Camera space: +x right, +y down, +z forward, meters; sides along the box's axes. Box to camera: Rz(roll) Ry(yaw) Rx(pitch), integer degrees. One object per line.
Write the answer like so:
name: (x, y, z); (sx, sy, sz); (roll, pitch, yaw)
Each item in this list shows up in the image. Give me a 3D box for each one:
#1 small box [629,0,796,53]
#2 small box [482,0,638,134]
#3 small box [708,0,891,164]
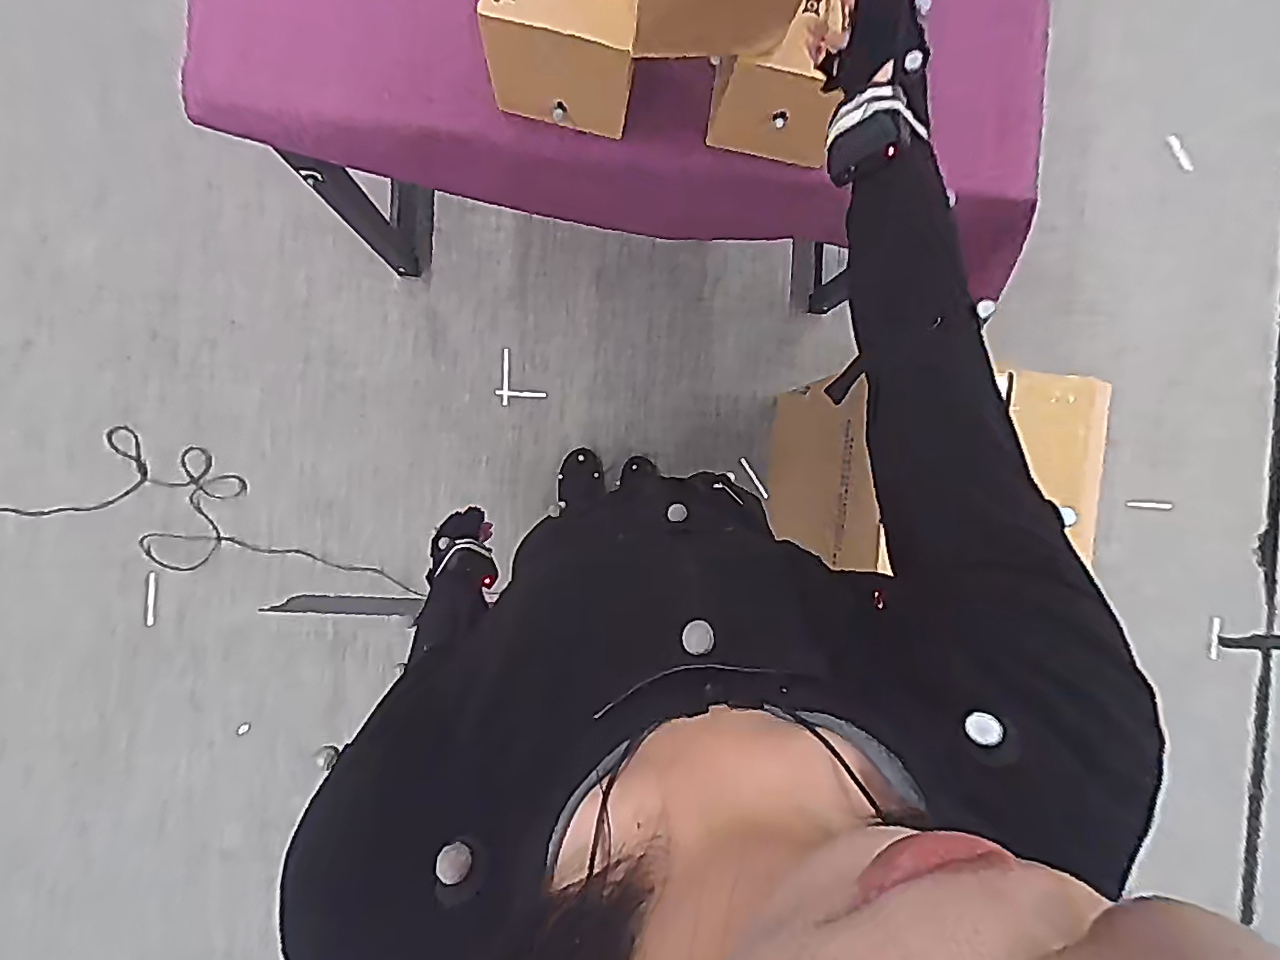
small box: (0.076, -0.566, 0.537); (0.179, 0.176, 0.168); (-6, 93, -6)
small box: (-0.087, -0.578, 0.684); (0.179, 0.176, 0.168); (9, 89, -7)
small box: (0.202, -0.552, 0.713); (0.179, 0.176, 0.168); (8, 90, -5)
